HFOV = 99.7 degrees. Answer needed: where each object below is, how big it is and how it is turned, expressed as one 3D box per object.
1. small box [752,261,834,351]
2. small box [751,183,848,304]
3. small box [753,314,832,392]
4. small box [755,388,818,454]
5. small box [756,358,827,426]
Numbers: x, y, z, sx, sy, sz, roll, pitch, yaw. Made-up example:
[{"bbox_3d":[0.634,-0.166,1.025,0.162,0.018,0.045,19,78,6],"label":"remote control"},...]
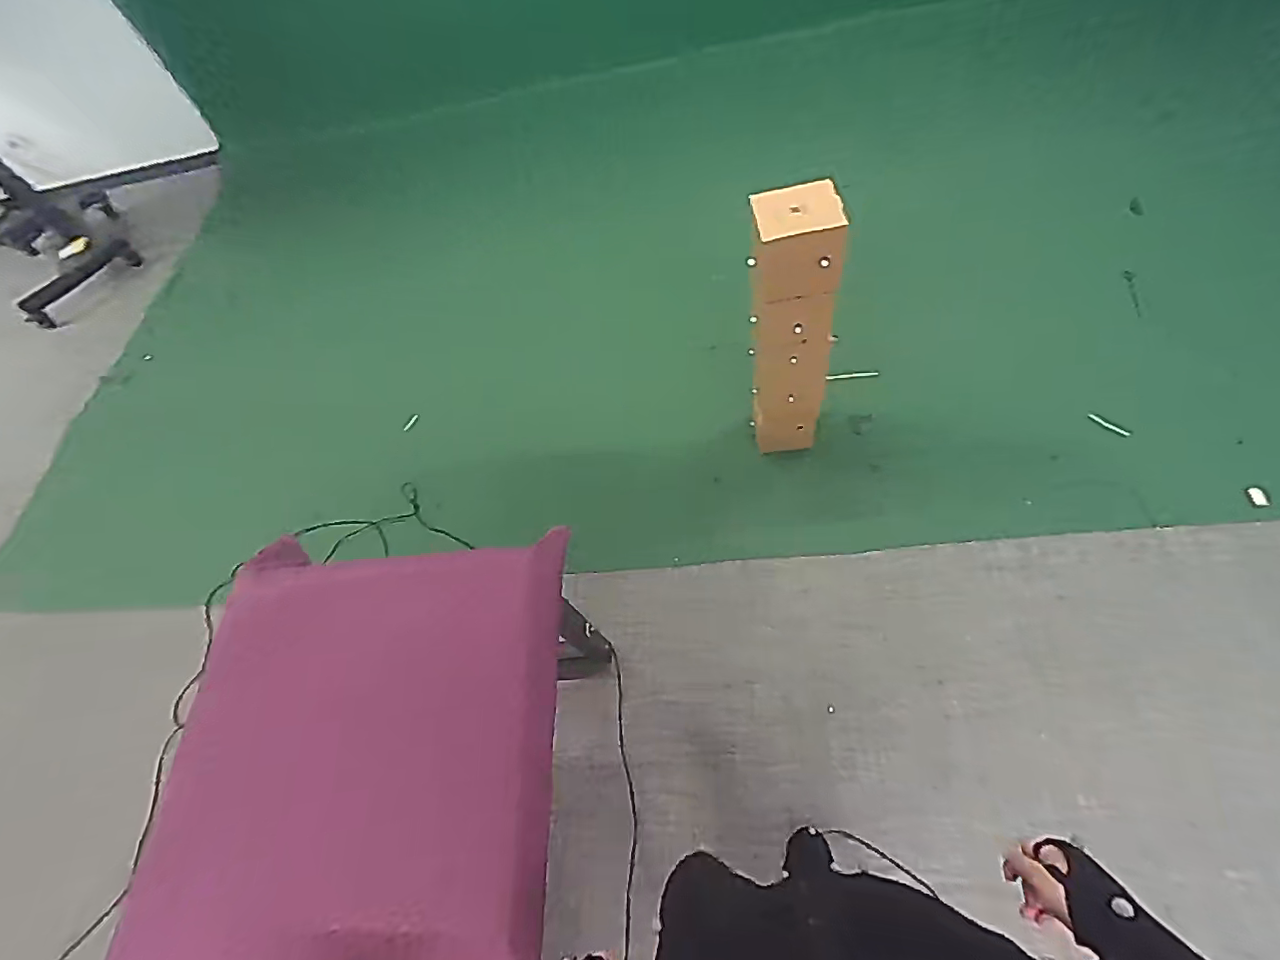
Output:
[{"bbox_3d":[0.377,-0.443,1.354,0.168,0.176,0.179,-8,60,8],"label":"small box"},{"bbox_3d":[0.349,-0.526,1.215,0.179,0.176,0.168,-9,58,9],"label":"small box"},{"bbox_3d":[0.415,-0.364,1.491,0.179,0.176,0.168,-10,60,6],"label":"small box"},{"bbox_3d":[0.472,-0.201,1.768,0.179,0.176,0.168,-6,60,9],"label":"small box"},{"bbox_3d":[0.449,-0.283,1.630,0.179,0.176,0.168,-9,59,8],"label":"small box"}]
